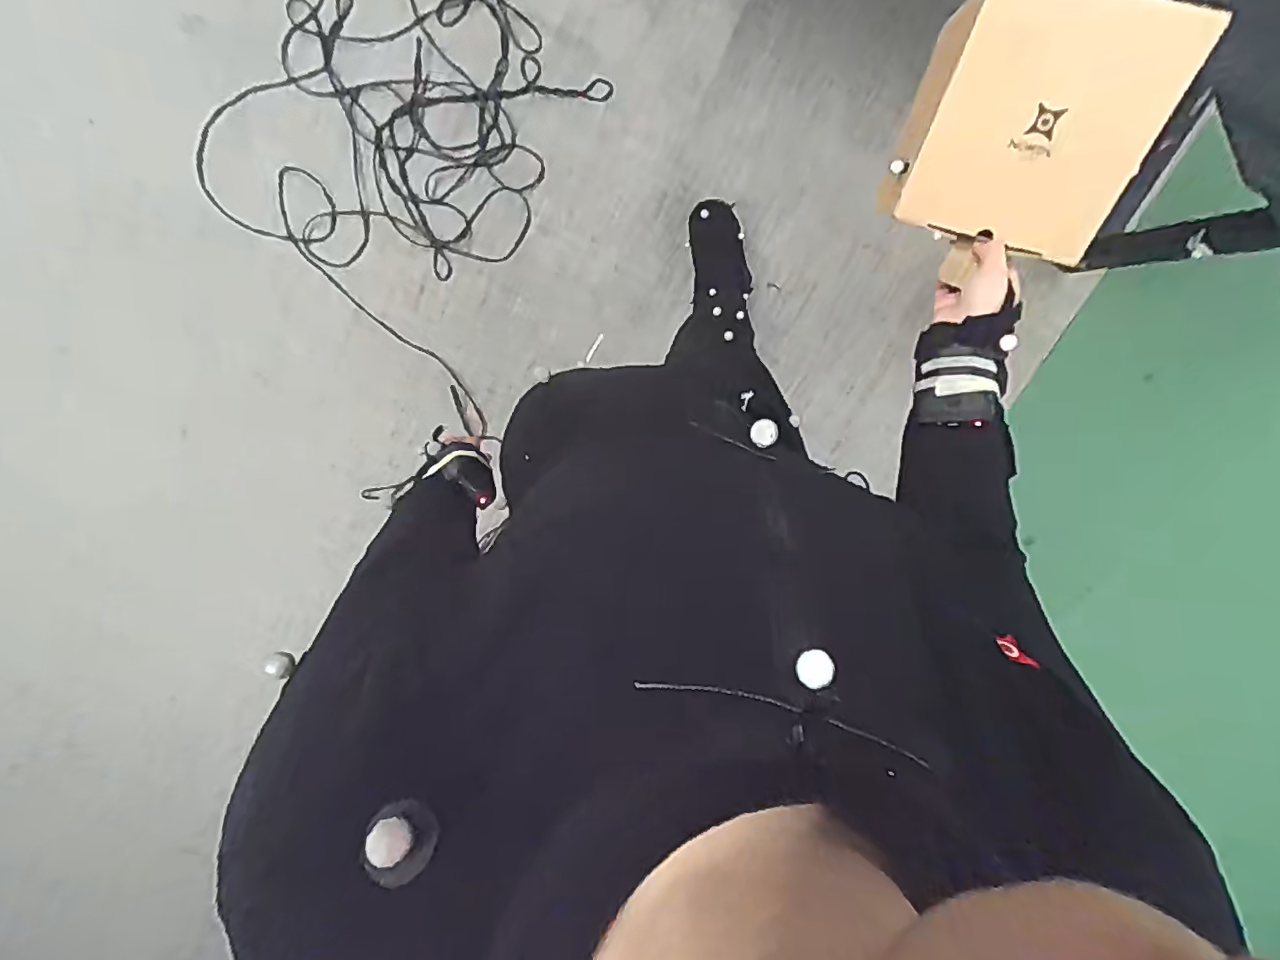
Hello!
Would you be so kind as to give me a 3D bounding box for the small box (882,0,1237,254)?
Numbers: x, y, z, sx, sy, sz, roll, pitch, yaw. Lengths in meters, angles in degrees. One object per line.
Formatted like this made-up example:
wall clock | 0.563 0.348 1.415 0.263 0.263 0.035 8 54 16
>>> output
small box | 0.342 -0.329 0.495 0.168 0.176 0.179 17 124 6
